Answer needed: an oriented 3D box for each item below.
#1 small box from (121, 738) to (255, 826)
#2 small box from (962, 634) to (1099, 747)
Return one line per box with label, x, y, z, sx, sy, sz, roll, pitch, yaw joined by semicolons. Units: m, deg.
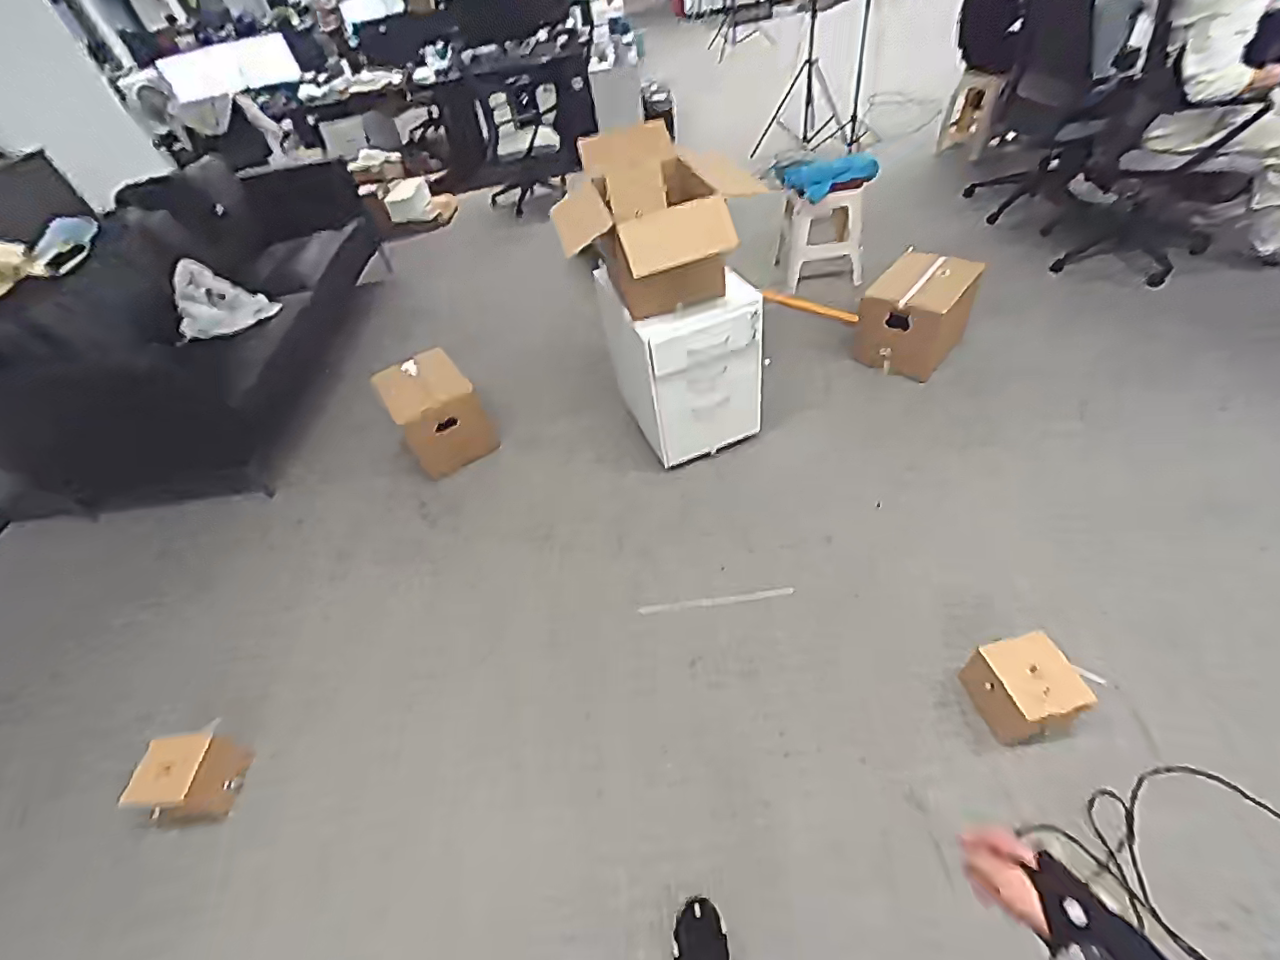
small box;-1.182;0.802;1.430;0.179;0.176;0.168;-7;47;4
small box;0.899;0.495;1.268;0.168;0.176;0.179;-14;47;-2
